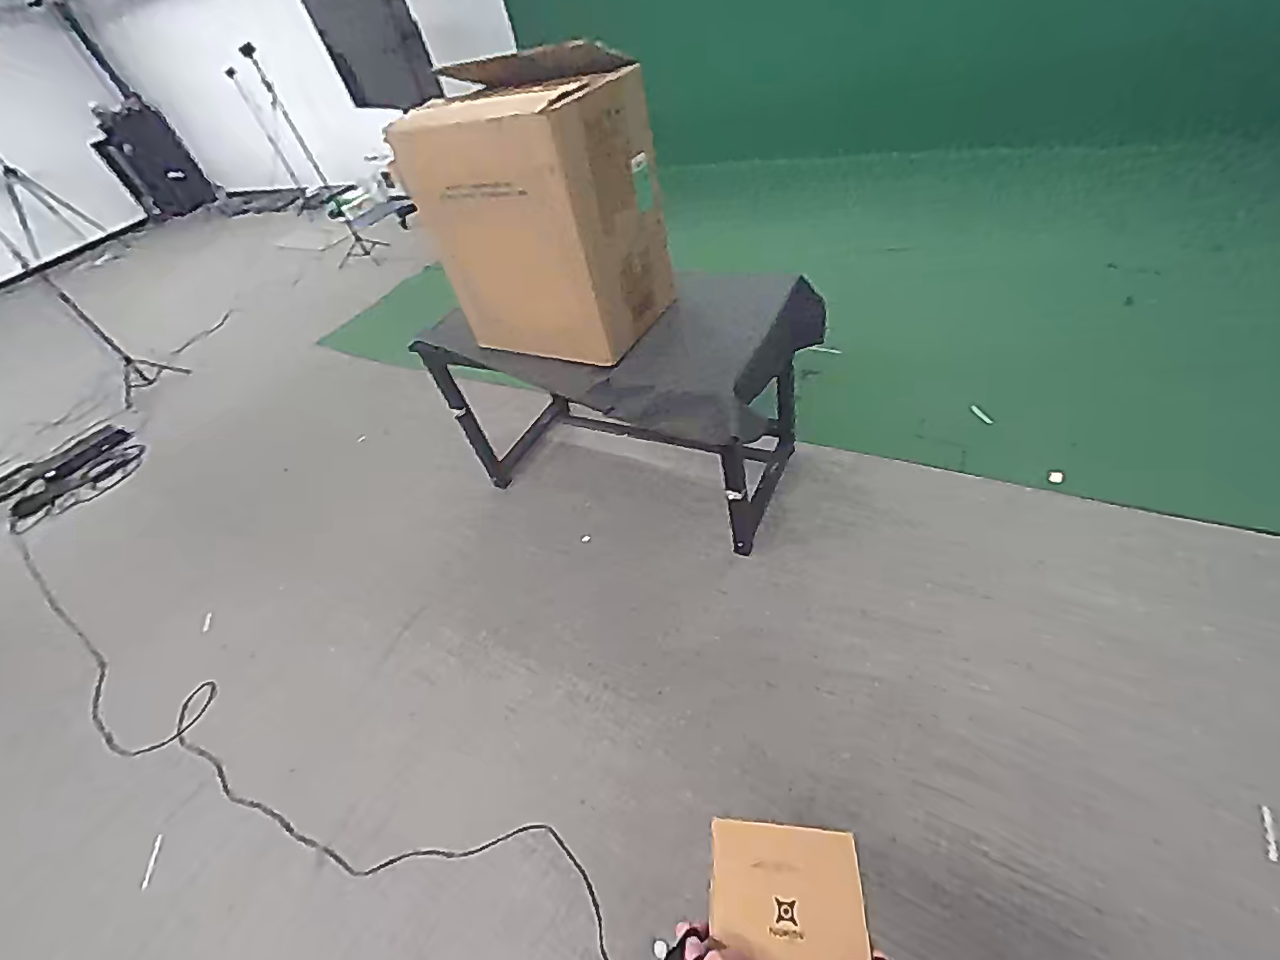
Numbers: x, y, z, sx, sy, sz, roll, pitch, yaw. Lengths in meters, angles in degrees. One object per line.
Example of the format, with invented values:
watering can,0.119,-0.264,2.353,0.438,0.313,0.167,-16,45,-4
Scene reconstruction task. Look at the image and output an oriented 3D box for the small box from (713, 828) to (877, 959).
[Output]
small box,0.169,0.534,0.619,0.168,0.176,0.179,0,37,8
